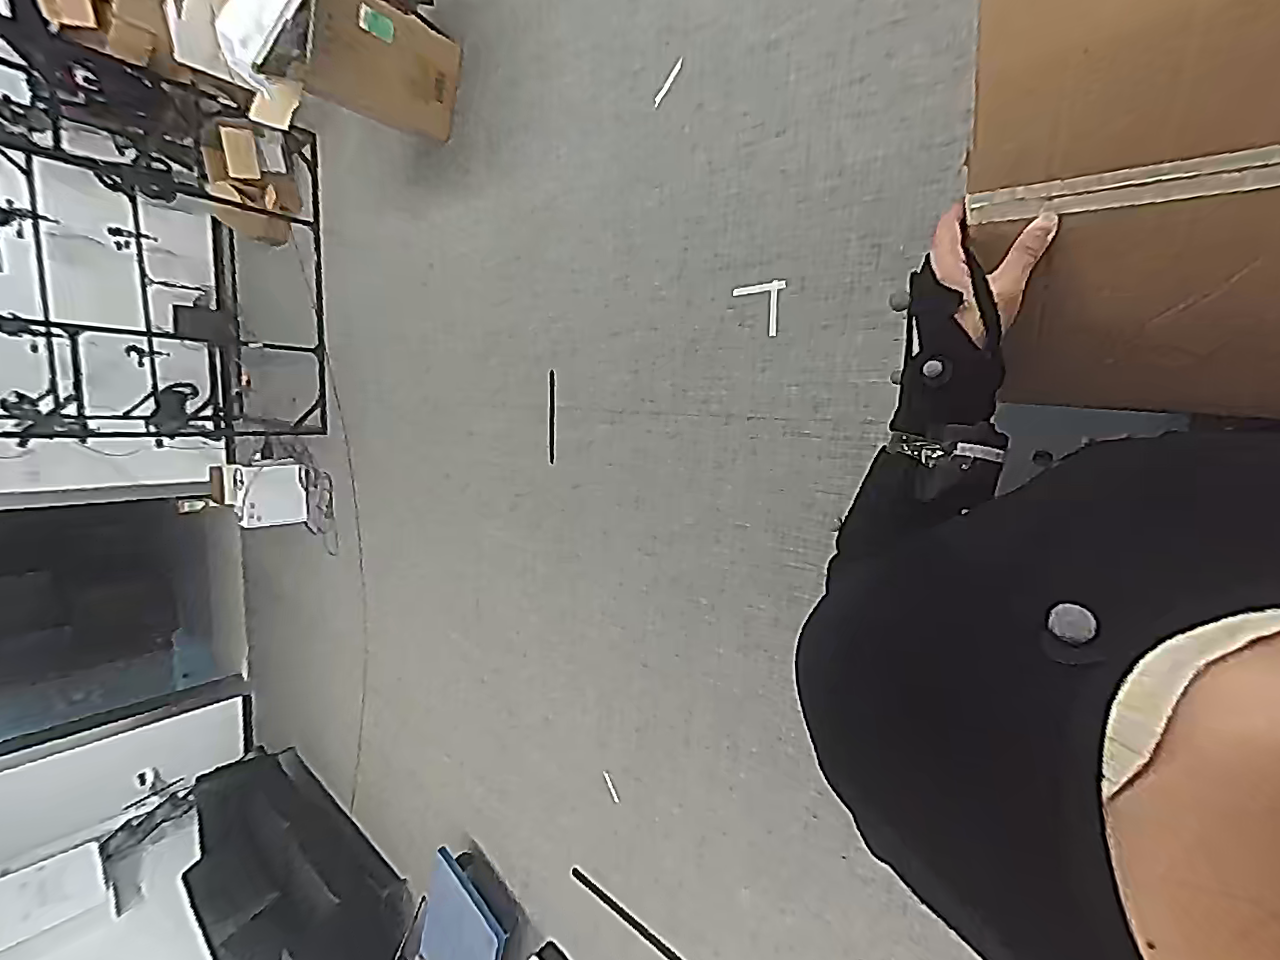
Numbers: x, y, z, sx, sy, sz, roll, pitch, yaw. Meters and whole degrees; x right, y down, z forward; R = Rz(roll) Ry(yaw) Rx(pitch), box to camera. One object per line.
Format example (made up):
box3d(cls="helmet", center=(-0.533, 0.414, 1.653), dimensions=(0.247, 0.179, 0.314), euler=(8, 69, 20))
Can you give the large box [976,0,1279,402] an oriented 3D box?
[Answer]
box3d(cls="large box", center=(0.486, -0.255, 0.355), dimensions=(0.408, 0.320, 0.320), euler=(11, 132, 41))
